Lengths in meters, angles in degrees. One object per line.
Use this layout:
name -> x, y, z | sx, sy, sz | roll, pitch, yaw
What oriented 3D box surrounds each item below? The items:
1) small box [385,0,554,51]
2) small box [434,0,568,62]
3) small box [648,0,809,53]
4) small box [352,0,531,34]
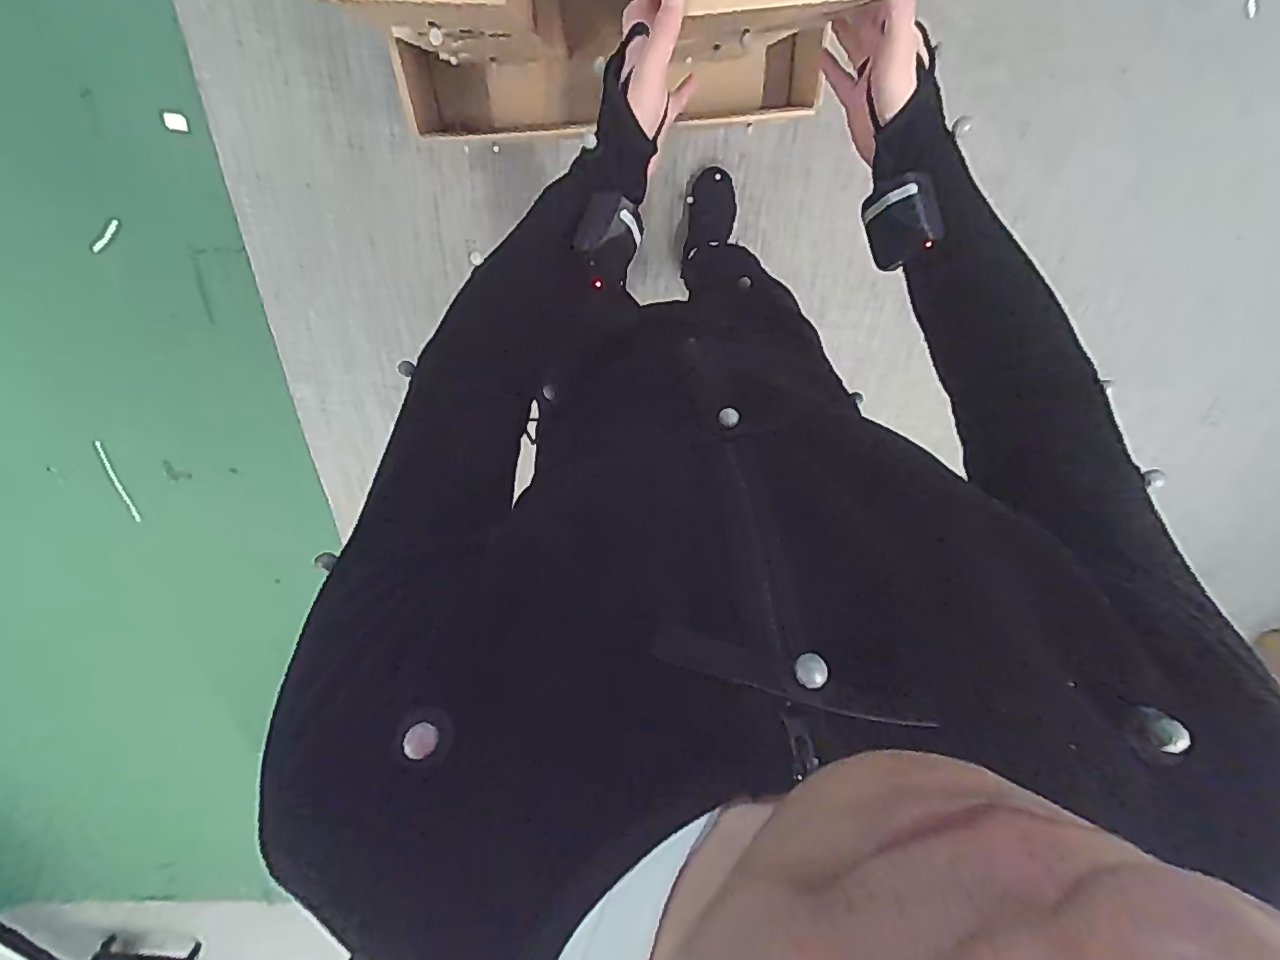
small box -> -0.191, -0.601, 0.605 | 0.168, 0.176, 0.179 | 0, 122, -2
small box -> -0.196, -0.690, 0.742 | 0.168, 0.176, 0.179 | -3, 123, 1
small box -> 0.093, -0.602, 0.610 | 0.168, 0.176, 0.179 | -6, 124, 1
small box -> -0.191, -0.515, 0.466 | 0.168, 0.176, 0.179 | 2, 123, -2
